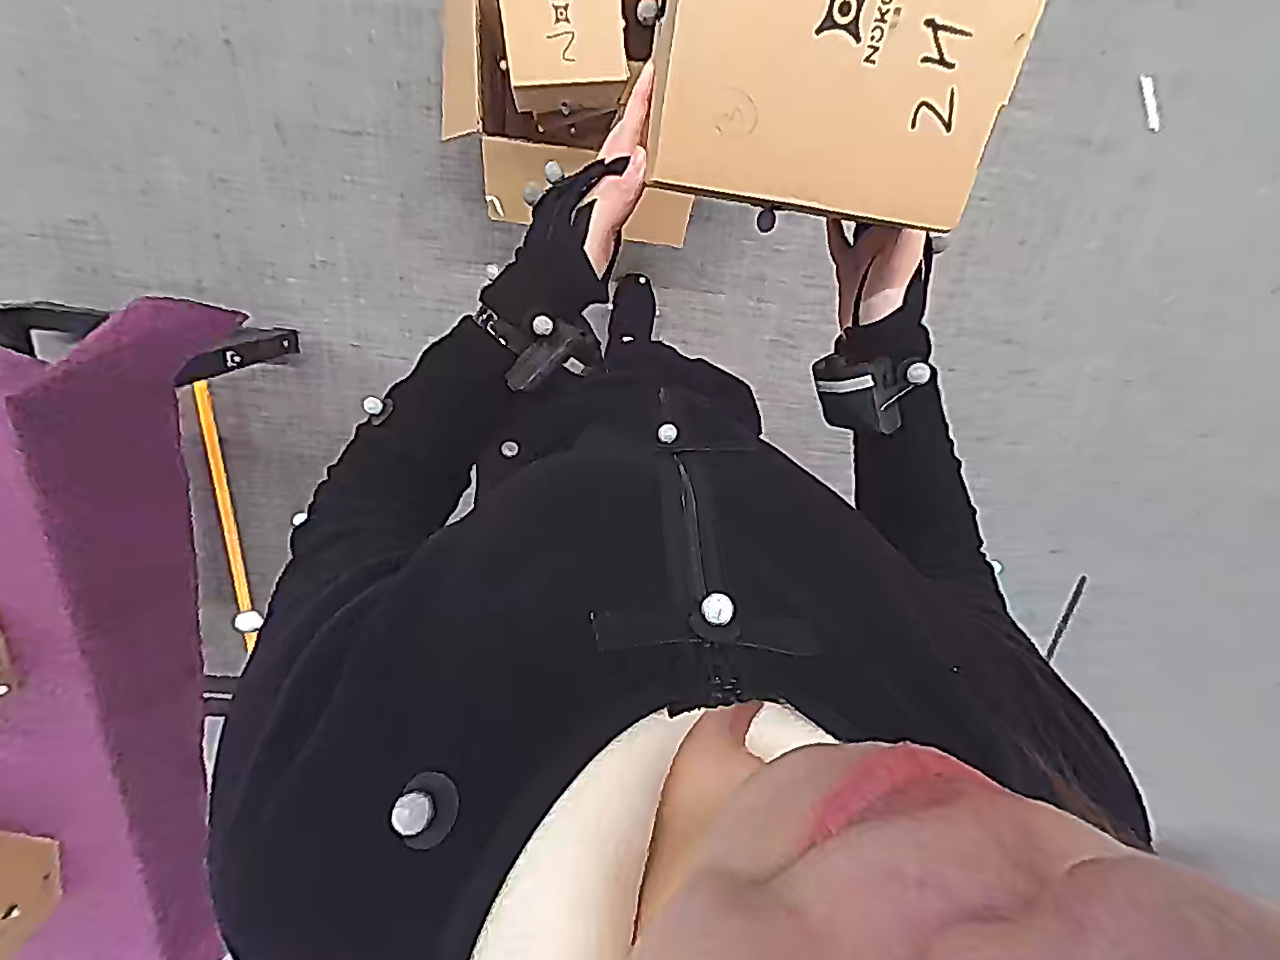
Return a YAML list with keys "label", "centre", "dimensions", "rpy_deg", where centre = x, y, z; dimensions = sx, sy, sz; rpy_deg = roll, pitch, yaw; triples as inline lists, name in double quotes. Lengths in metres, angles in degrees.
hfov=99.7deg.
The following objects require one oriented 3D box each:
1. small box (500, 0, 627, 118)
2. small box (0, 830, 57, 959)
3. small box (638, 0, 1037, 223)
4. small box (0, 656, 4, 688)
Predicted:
- label: "small box"
  centre: [-0.133, -0.759, 0.943]
  dimensions: [0.179, 0.176, 0.168]
  rpy_deg: [-16, 115, -2]
- label: "small box"
  centre: [-1.081, 0.676, 0.848]
  dimensions: [0.179, 0.176, 0.168]
  rpy_deg: [16, 109, -11]
- label: "small box"
  centre: [0.097, -0.260, 0.325]
  dimensions: [0.179, 0.176, 0.168]
  rpy_deg: [6, 118, -7]
- label: "small box"
  centre: [-0.983, 0.253, 0.684]
  dimensions: [0.179, 0.176, 0.168]
  rpy_deg: [9, 111, -7]
